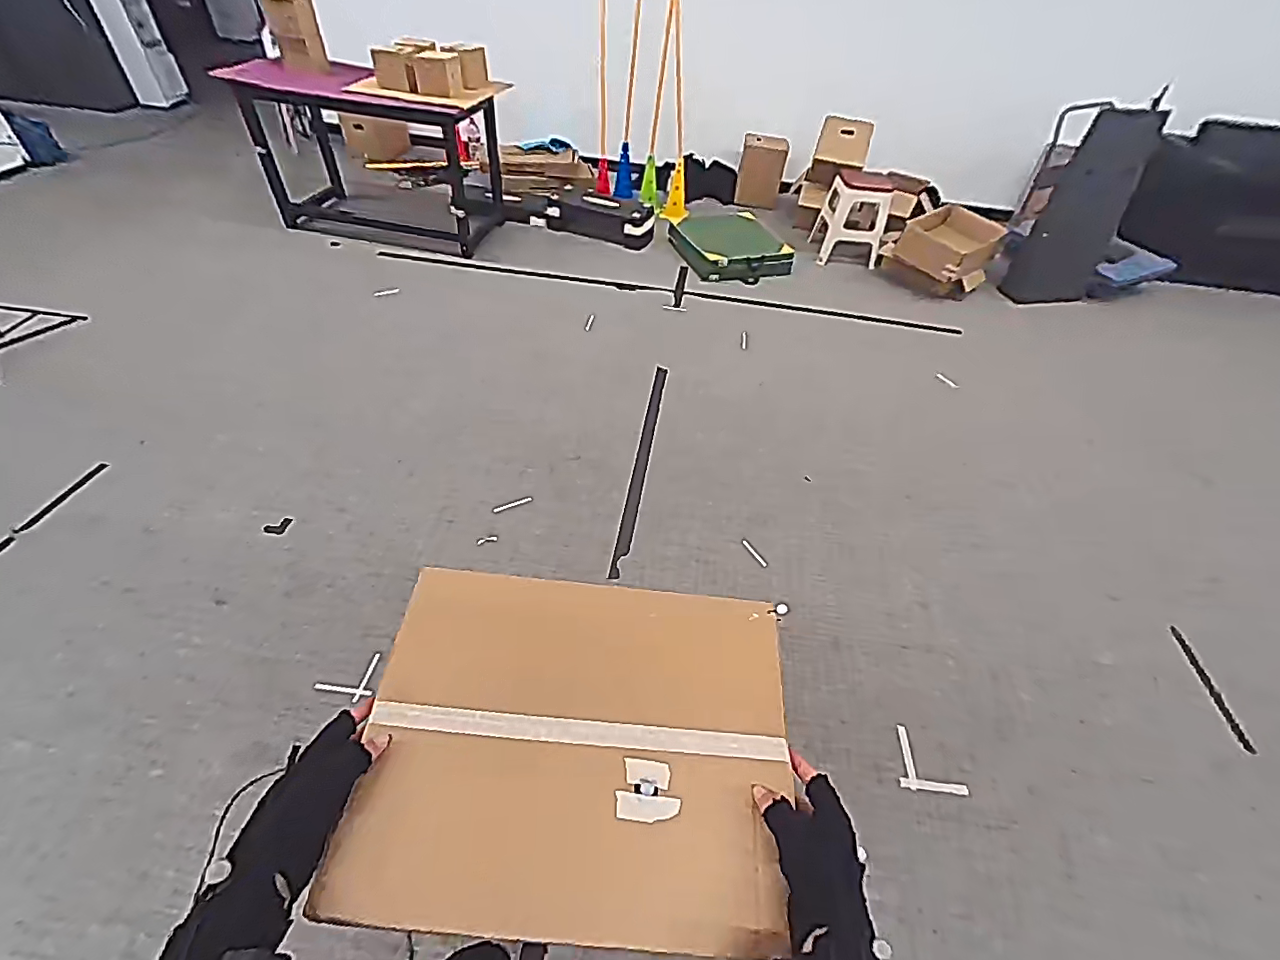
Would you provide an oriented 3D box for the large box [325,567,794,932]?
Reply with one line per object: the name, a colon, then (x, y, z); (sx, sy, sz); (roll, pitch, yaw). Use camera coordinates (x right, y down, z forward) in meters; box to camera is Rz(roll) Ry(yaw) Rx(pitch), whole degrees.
large box: (-0.071, 0.330, 0.658); (0.408, 0.320, 0.320); (6, 54, -2)
